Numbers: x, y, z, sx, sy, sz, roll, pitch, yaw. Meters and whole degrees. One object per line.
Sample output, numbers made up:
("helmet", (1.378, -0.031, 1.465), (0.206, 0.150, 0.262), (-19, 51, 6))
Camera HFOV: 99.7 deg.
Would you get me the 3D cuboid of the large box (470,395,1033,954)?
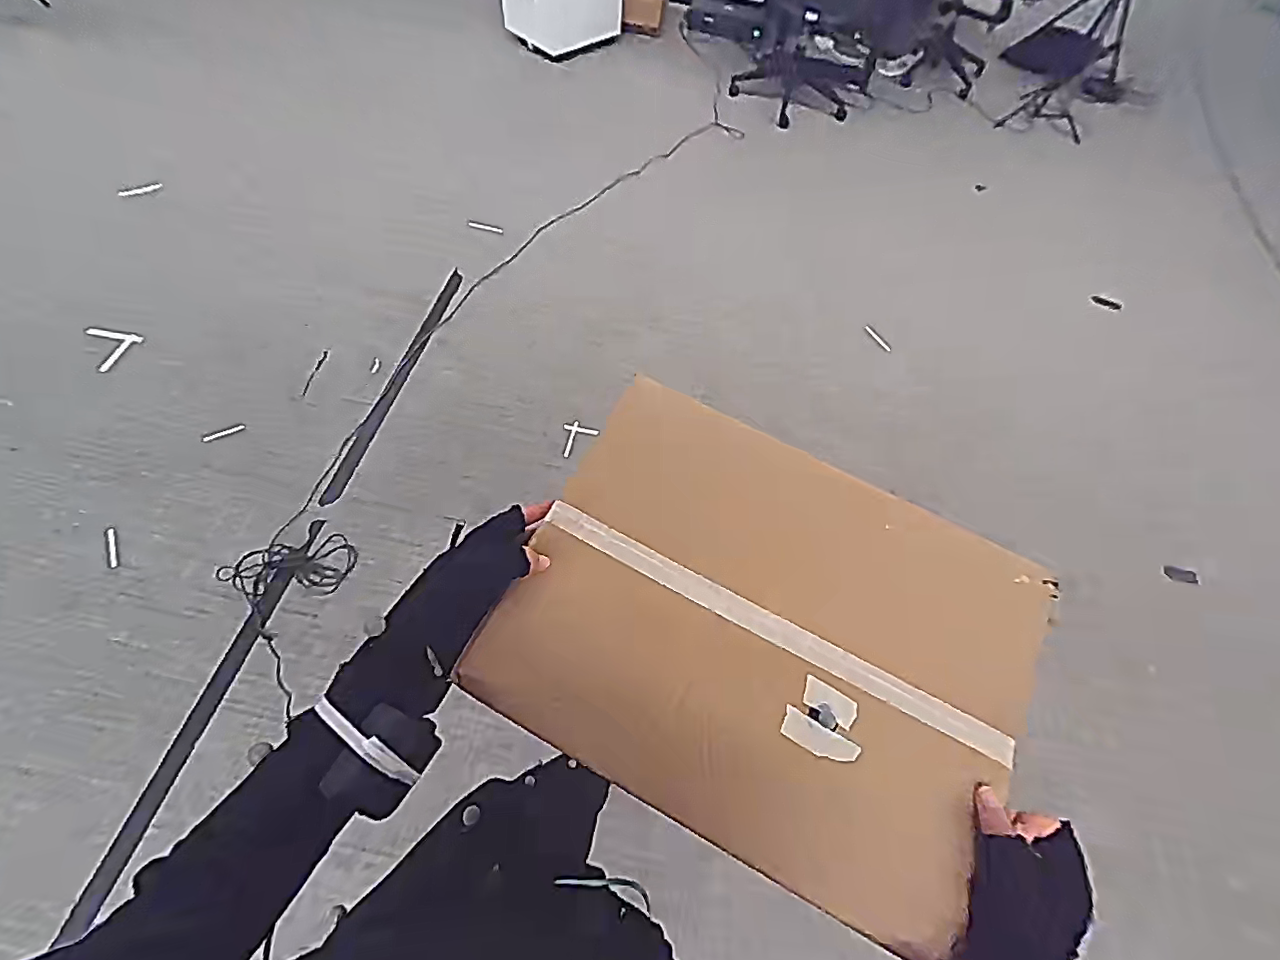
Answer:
("large box", (0.099, 0.177, 0.594), (0.408, 0.320, 0.320), (28, 72, 8))
